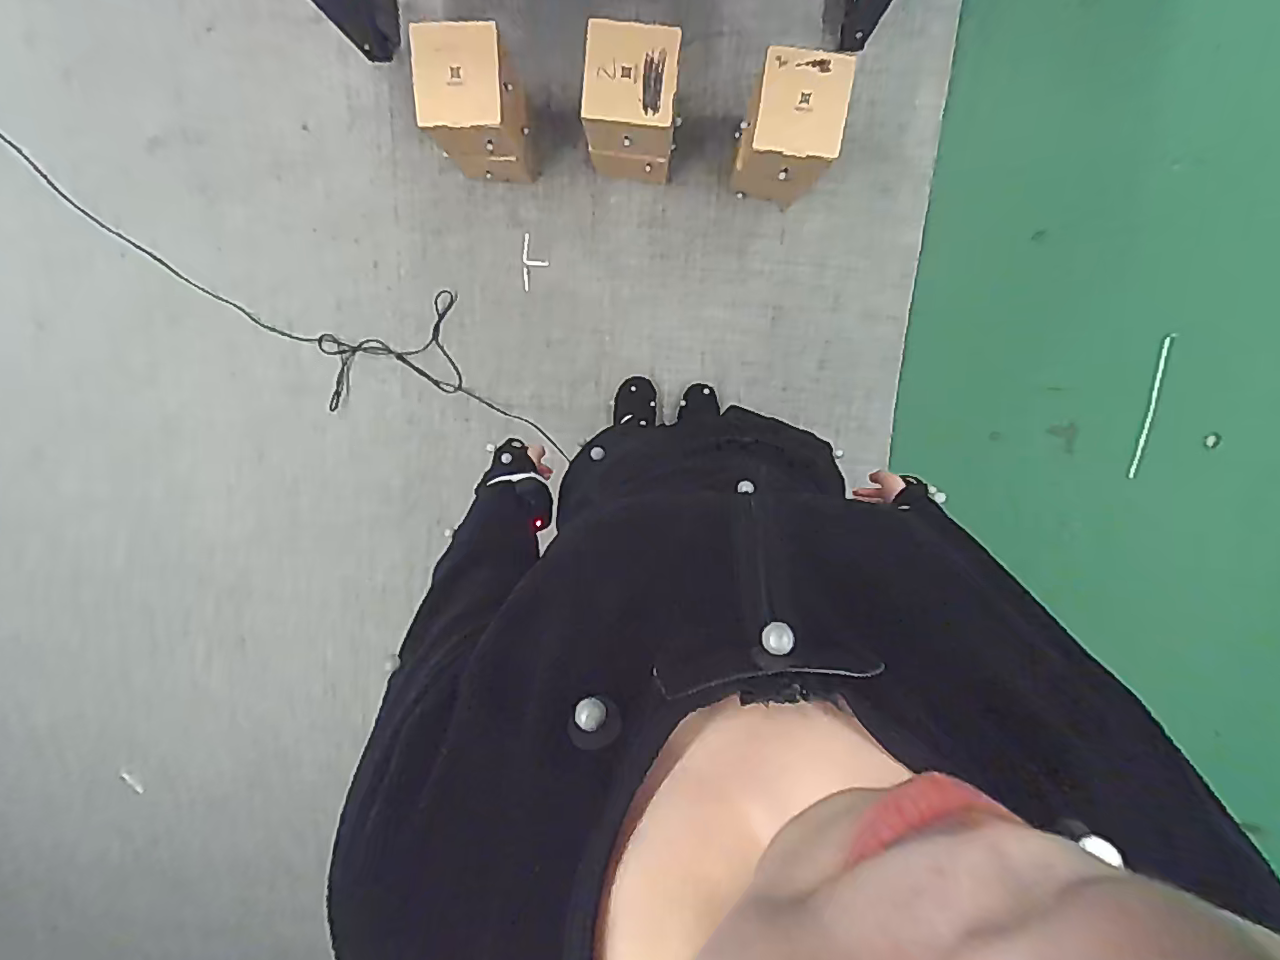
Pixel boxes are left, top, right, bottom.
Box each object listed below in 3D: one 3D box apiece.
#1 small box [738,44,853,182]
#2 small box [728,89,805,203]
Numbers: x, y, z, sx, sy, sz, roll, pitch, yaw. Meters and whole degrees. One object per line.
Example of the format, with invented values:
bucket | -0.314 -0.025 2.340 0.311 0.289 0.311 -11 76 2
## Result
small box | 0.300 -0.720 1.084 0.168 0.176 0.179 8 104 -2
small box | 0.304 -0.762 1.245 0.168 0.176 0.179 12 102 -1
